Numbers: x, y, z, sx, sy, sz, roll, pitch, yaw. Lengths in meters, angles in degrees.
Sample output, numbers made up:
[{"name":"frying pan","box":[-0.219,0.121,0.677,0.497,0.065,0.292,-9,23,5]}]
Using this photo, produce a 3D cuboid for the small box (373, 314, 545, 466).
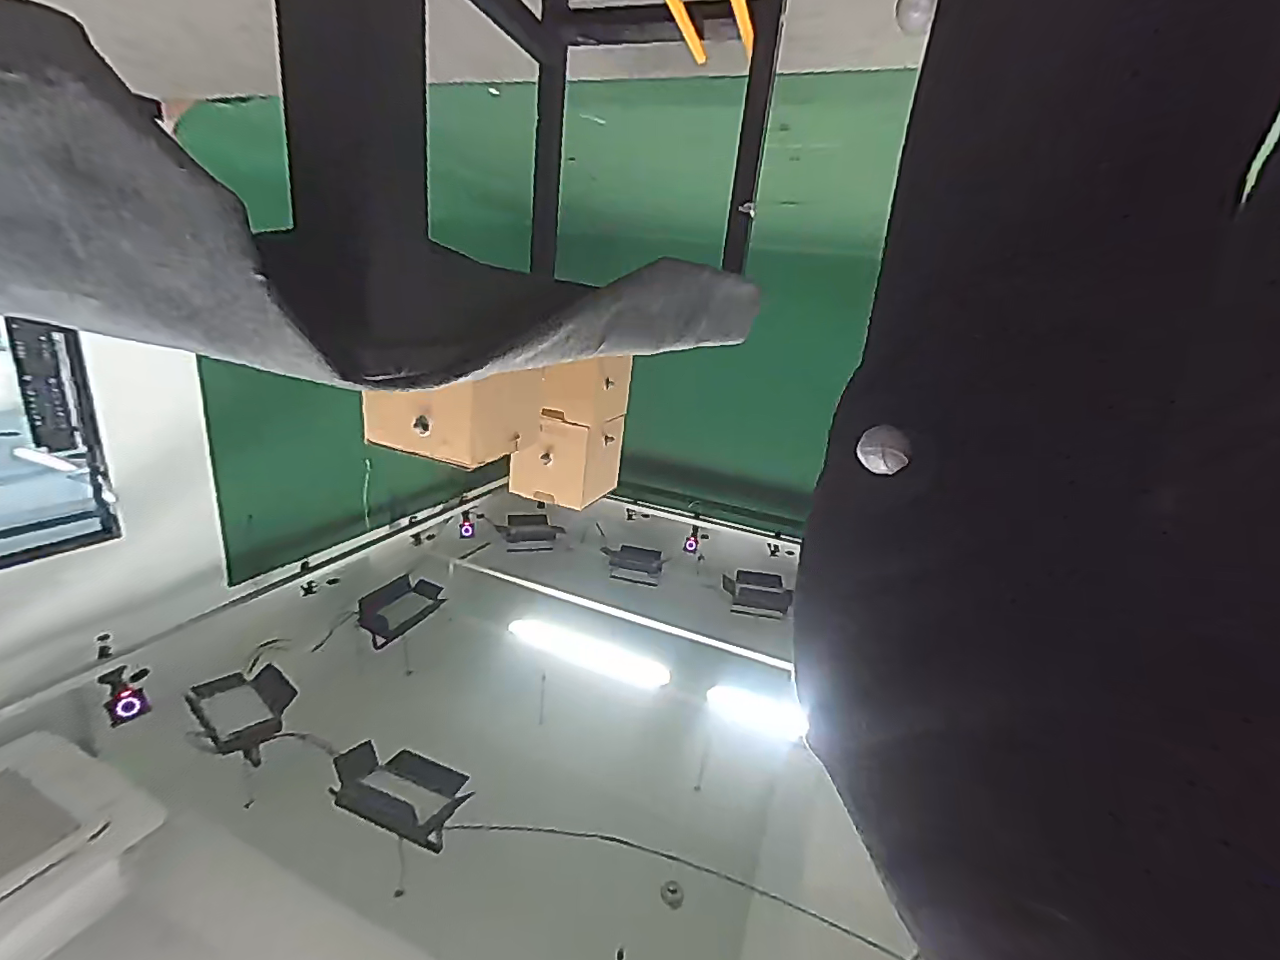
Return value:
[{"name":"small box","box":[-0.245,-0.133,0.744,0.179,0.176,0.168,13,-162,18]}]

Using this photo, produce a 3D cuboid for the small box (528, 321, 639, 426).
[{"name":"small box","box":[-0.112,-0.211,1.044,0.168,0.176,0.179,14,-161,17]}]

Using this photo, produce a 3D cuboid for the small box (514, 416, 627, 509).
[{"name":"small box","box":[-0.138,-0.058,1.097,0.168,0.176,0.179,13,-162,18]}]
